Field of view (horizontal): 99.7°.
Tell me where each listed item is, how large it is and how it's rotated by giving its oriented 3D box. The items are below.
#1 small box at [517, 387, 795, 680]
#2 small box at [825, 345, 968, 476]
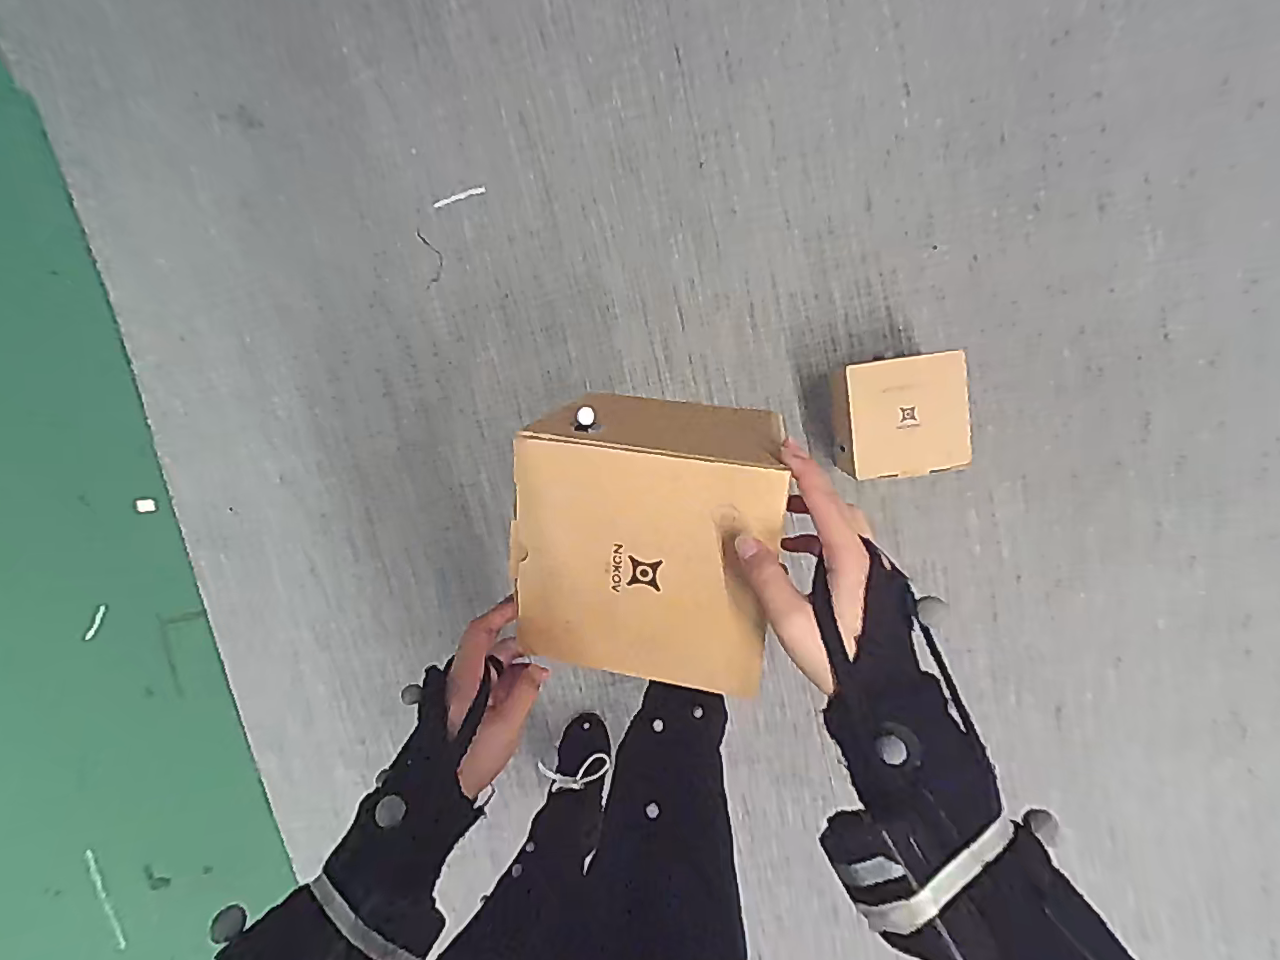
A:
[{"bbox_3d":[0.018,0.024,0.429,0.179,0.176,0.168,8,110,11],"label":"small box"},{"bbox_3d":[0.403,-0.112,0.872,0.168,0.176,0.179,-7,97,10],"label":"small box"}]
